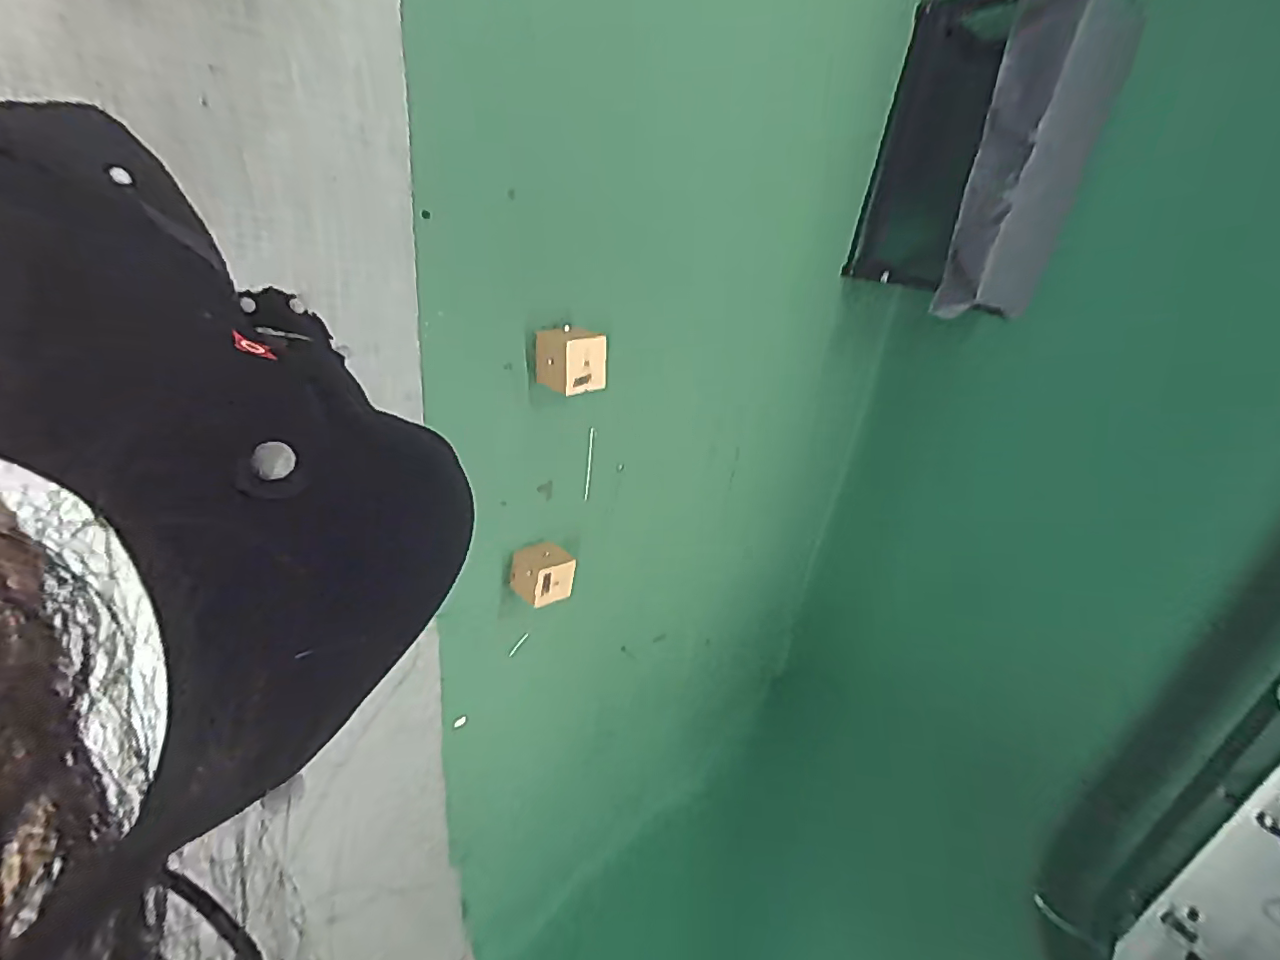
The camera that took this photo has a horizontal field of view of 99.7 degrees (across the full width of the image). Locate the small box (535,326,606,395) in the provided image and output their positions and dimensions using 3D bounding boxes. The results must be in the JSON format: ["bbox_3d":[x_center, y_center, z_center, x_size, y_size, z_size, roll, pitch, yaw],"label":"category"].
[{"bbox_3d":[-0.232,-0.397,1.781,0.168,0.176,0.179,-21,126,-40],"label":"small box"}]
